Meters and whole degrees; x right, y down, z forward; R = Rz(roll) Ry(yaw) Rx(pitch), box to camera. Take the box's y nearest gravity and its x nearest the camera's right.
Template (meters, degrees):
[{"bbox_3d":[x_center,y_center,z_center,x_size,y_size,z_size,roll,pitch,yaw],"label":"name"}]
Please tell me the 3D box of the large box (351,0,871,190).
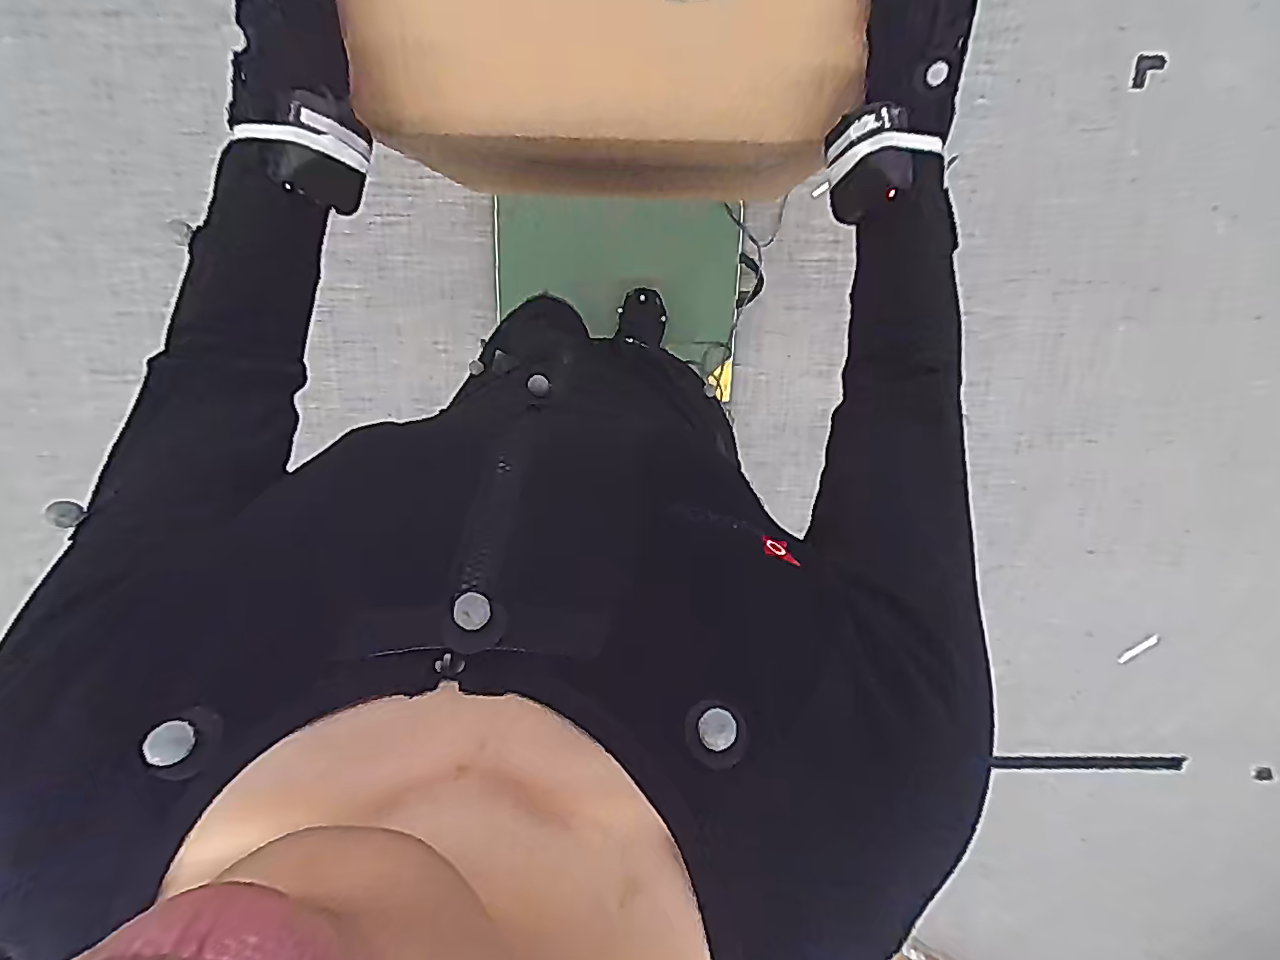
[{"bbox_3d":[-0.023,-0.482,0.526,0.408,0.320,0.320,0,111,0],"label":"large box"}]
